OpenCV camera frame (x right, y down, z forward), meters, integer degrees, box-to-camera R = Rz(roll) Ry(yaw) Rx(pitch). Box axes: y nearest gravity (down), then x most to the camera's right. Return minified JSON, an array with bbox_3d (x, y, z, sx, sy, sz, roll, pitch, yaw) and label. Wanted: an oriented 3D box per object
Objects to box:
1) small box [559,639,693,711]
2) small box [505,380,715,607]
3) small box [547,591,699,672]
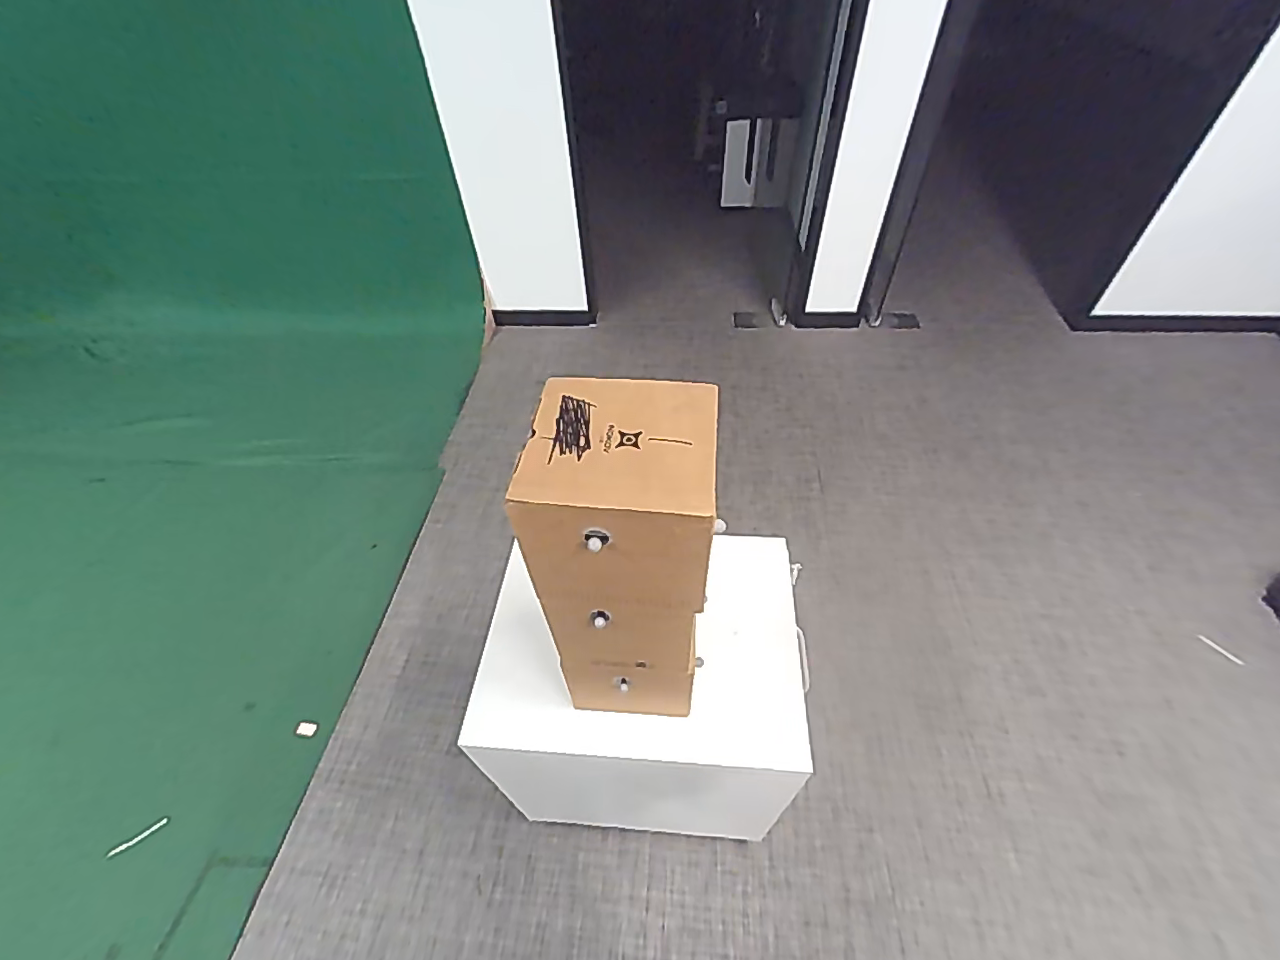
[{"bbox_3d":[-0.010,0.232,0.807,0.179,0.176,0.168,3,49,4],"label":"small box"},{"bbox_3d":[-0.017,0.016,0.561,0.179,0.176,0.168,4,49,6],"label":"small box"},{"bbox_3d":[-0.013,0.123,0.689,0.168,0.176,0.179,2,49,3],"label":"small box"}]
